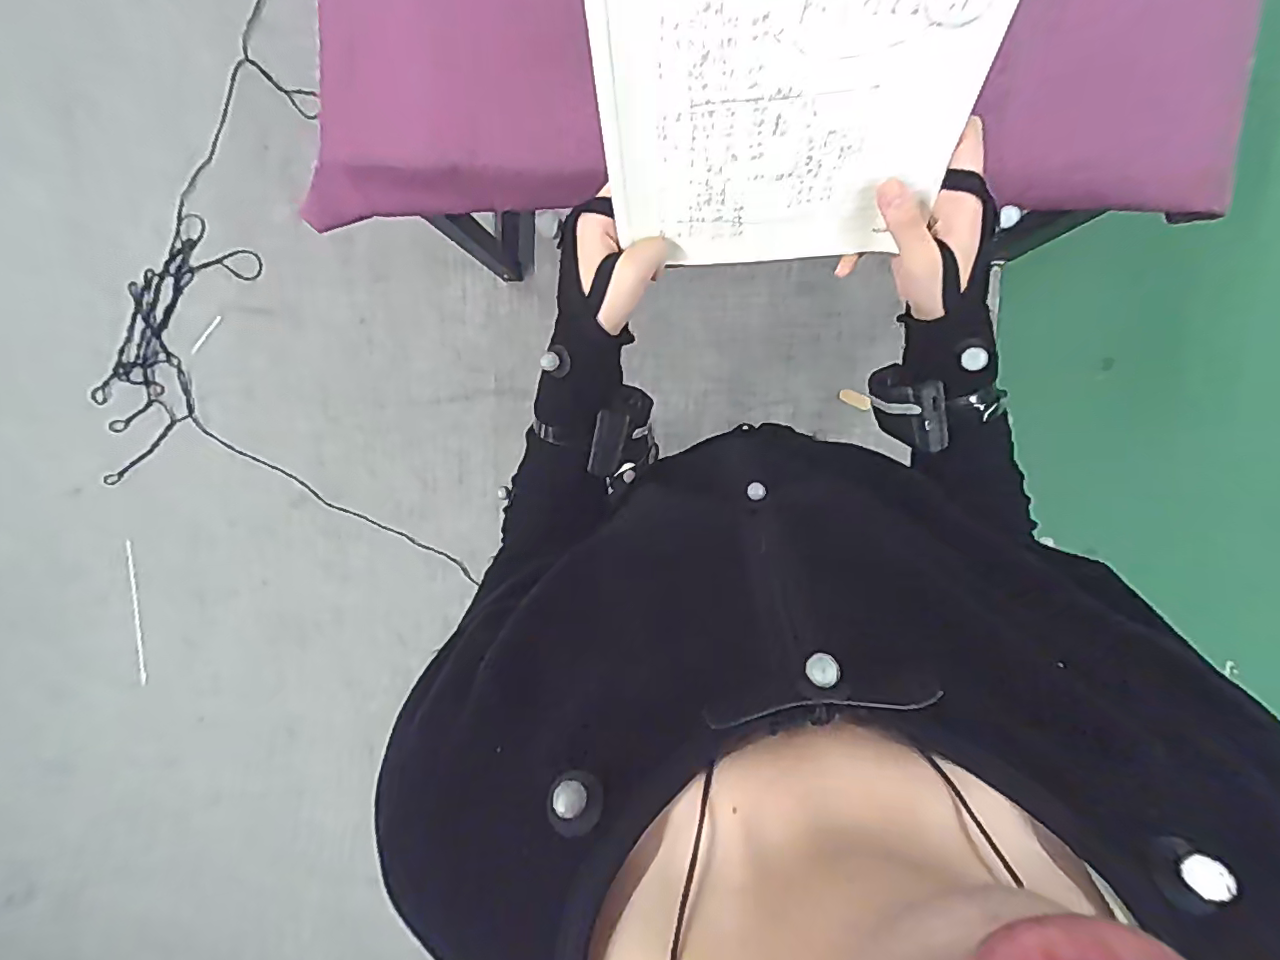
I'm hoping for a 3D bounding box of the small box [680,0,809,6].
[{"bbox_3d":[0.094,-0.563,0.472,0.168,0.176,0.179,3,94,5],"label":"small box"}]
